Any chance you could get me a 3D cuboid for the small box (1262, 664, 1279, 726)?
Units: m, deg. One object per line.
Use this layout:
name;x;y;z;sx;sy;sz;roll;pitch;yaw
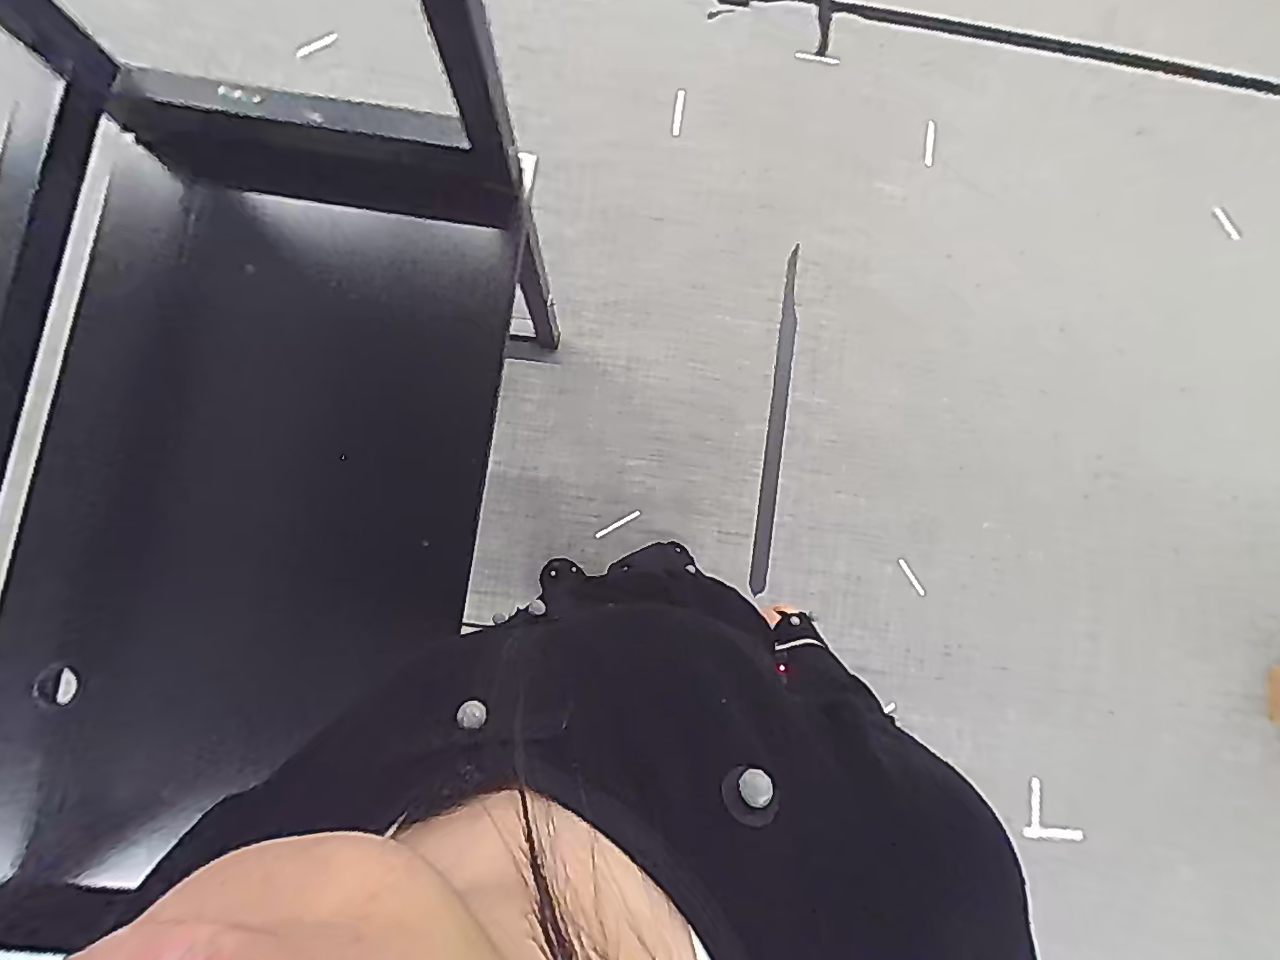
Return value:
small box;1.938;0.637;1.535;0.168;0.176;0.179;7;83;-3
